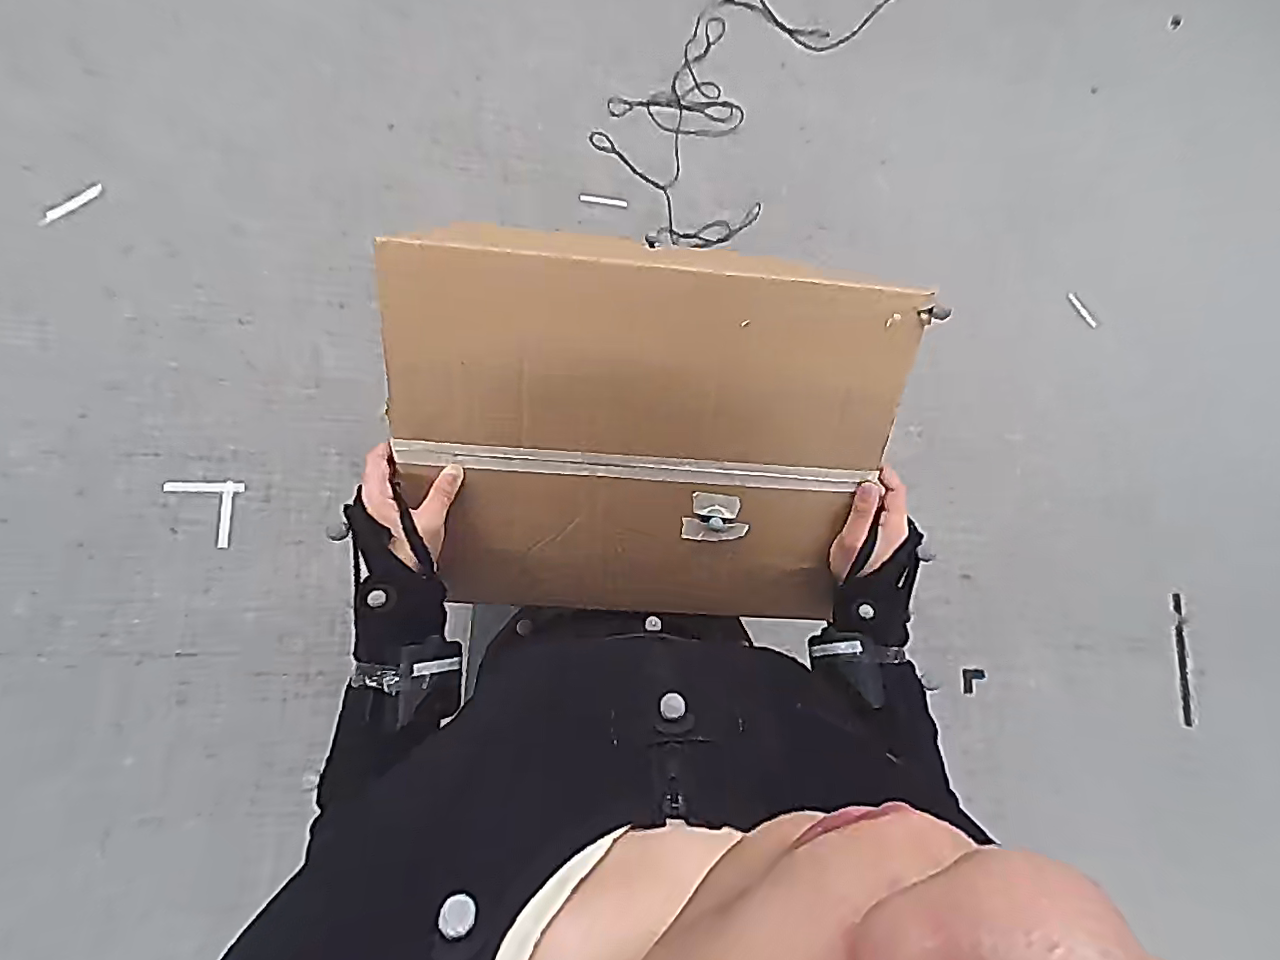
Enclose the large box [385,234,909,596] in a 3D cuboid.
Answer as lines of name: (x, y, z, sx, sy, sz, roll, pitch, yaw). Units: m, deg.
large box: (-0.008, -0.090, 0.600, 0.408, 0.320, 0.320, 3, 118, -6)
